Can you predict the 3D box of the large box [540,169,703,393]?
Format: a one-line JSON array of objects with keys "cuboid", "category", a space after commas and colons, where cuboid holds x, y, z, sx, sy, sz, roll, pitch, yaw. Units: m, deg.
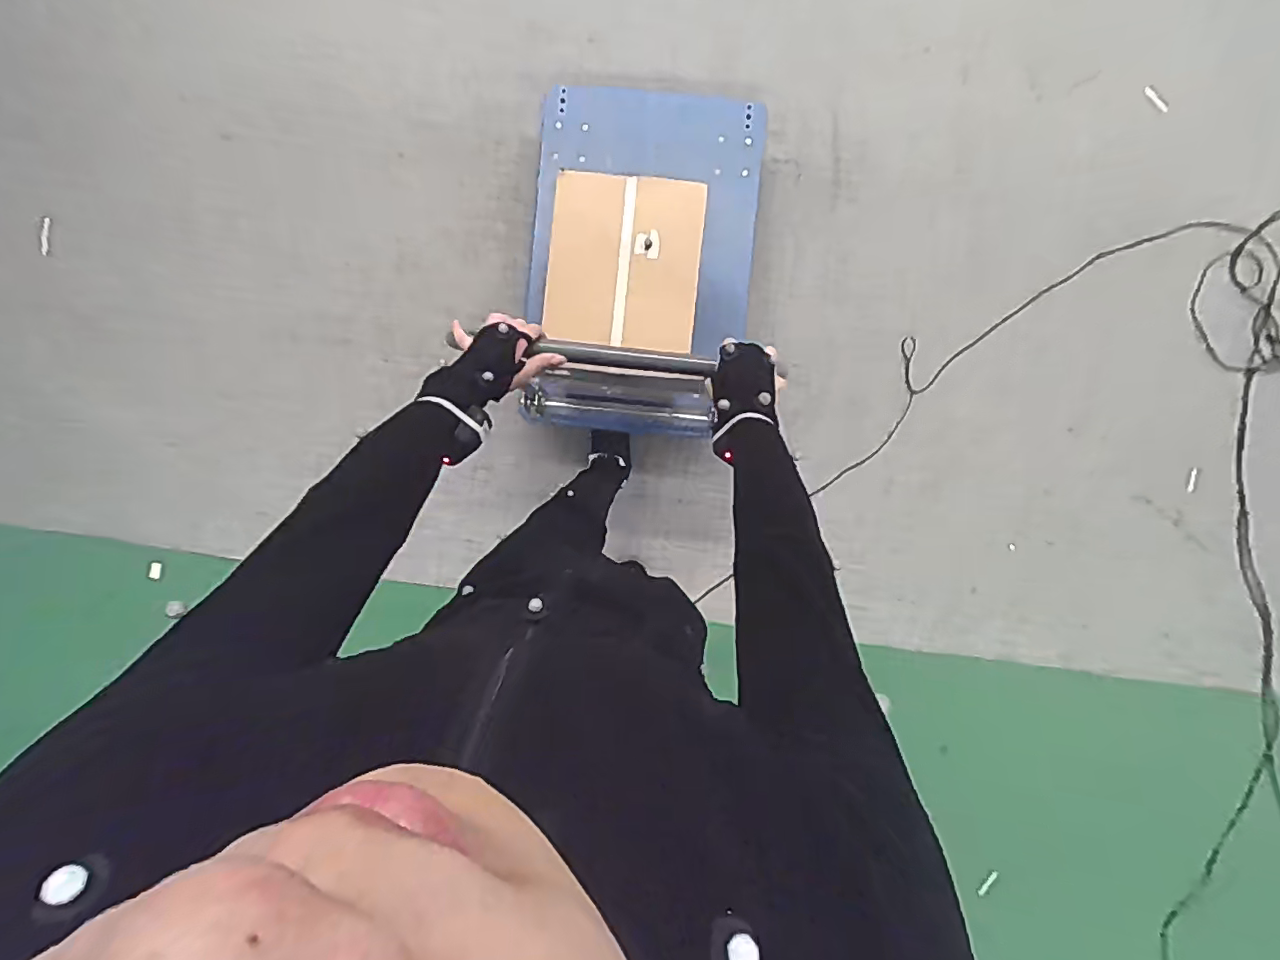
[{"cuboid": [-0.036, -0.431, 1.260, 0.320, 0.320, 0.408, 6, 91, 0], "category": "large box"}]
